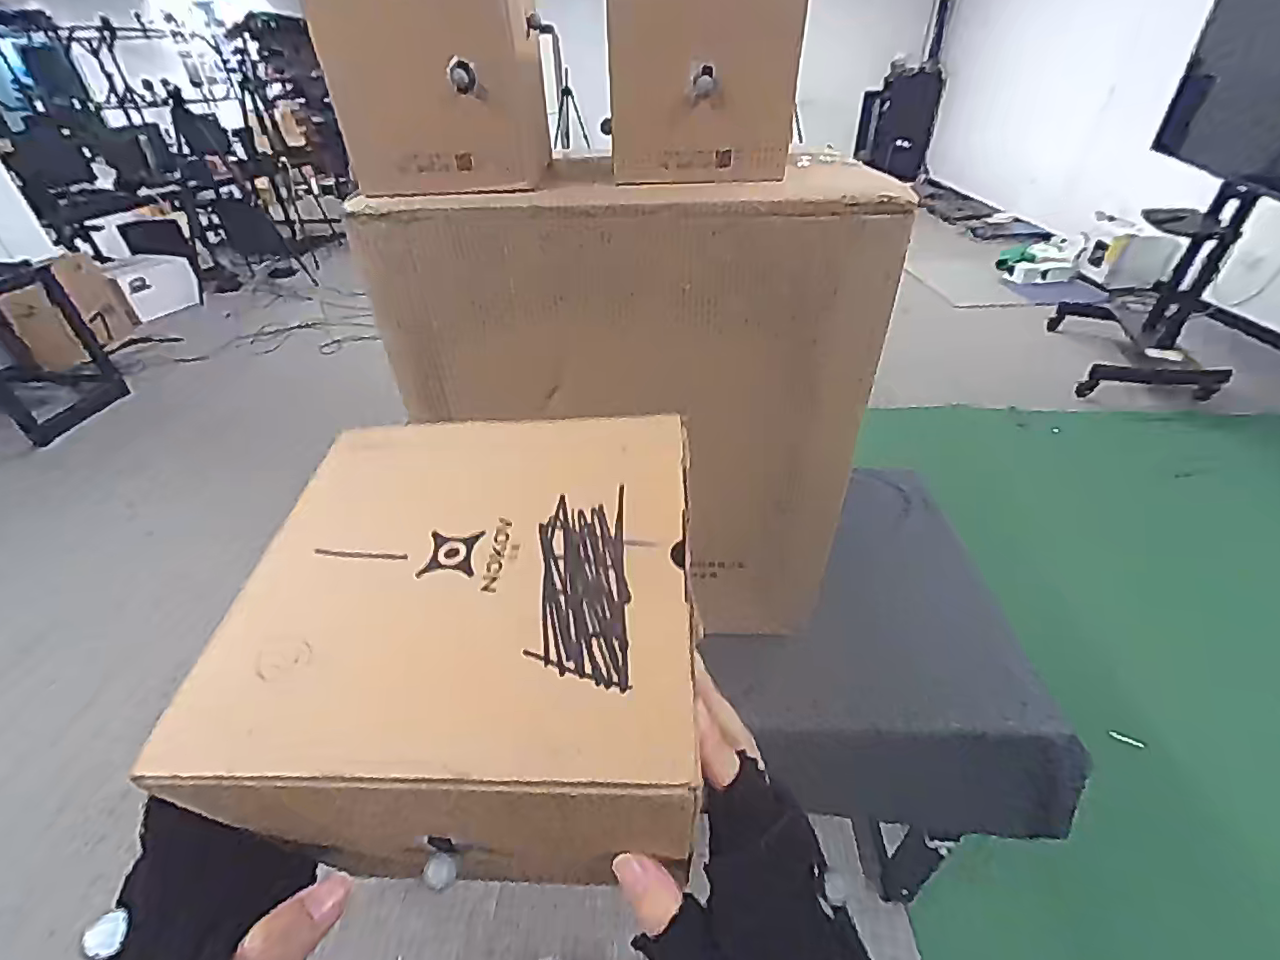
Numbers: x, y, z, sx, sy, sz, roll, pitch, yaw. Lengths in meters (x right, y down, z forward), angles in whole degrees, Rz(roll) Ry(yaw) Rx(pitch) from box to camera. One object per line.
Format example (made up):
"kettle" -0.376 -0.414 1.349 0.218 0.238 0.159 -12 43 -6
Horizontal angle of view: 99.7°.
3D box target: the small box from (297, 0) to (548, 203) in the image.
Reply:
"small box" -0.187 -0.379 0.530 0.168 0.176 0.179 -1 38 -1

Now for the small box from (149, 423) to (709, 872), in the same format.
"small box" -0.065 0.088 0.278 0.179 0.176 0.168 -1 47 0

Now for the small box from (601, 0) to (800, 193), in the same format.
"small box" 0.055 -0.391 0.533 0.168 0.176 0.179 0 40 2
